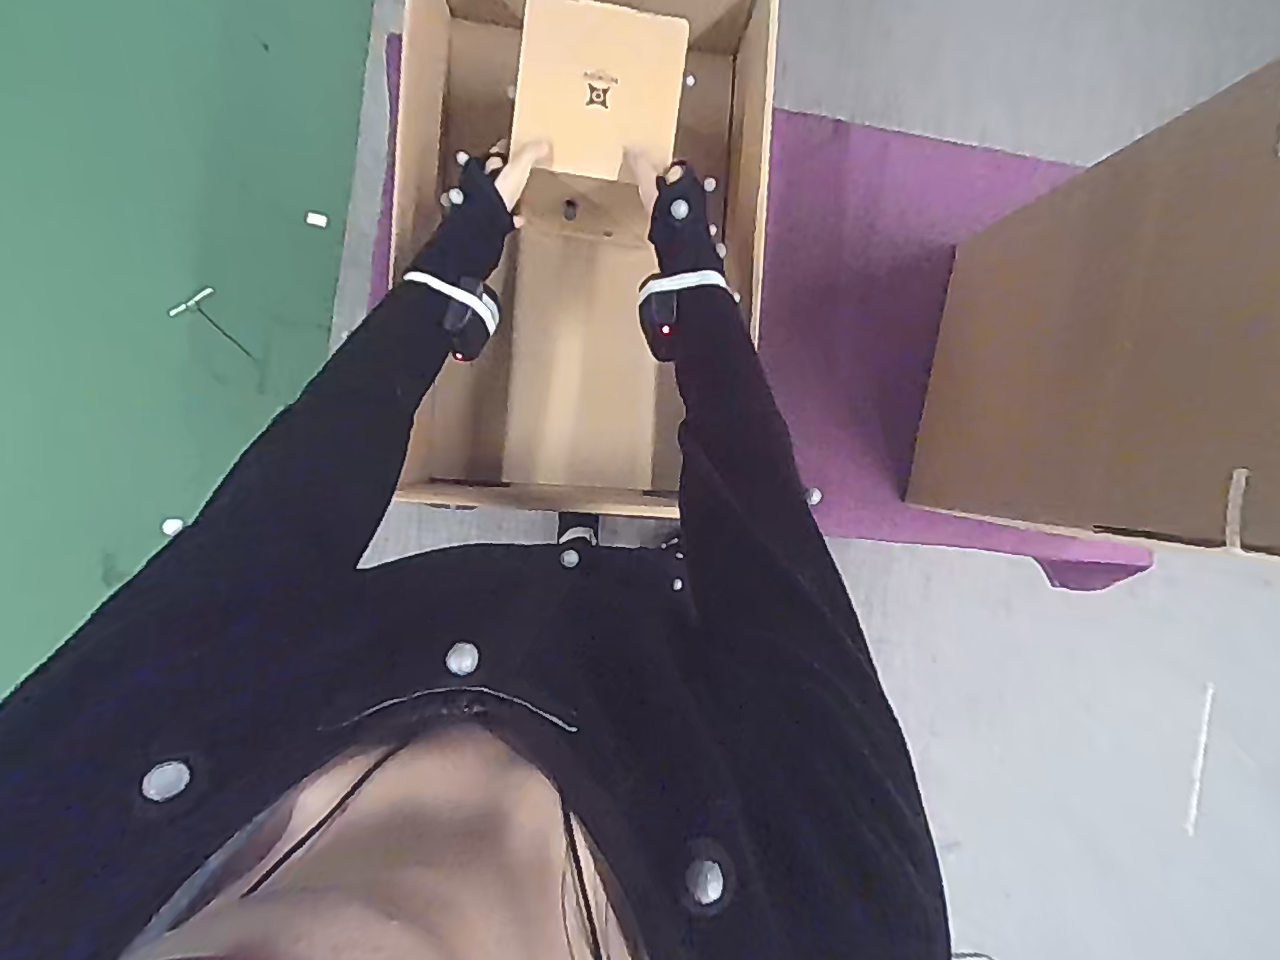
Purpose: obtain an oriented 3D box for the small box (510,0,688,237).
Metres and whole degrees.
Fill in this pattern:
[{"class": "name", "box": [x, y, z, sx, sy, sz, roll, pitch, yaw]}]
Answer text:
[{"class": "small box", "box": [-0.046, -0.405, 0.627, 0.168, 0.176, 0.179, 6, 92, -4]}]
